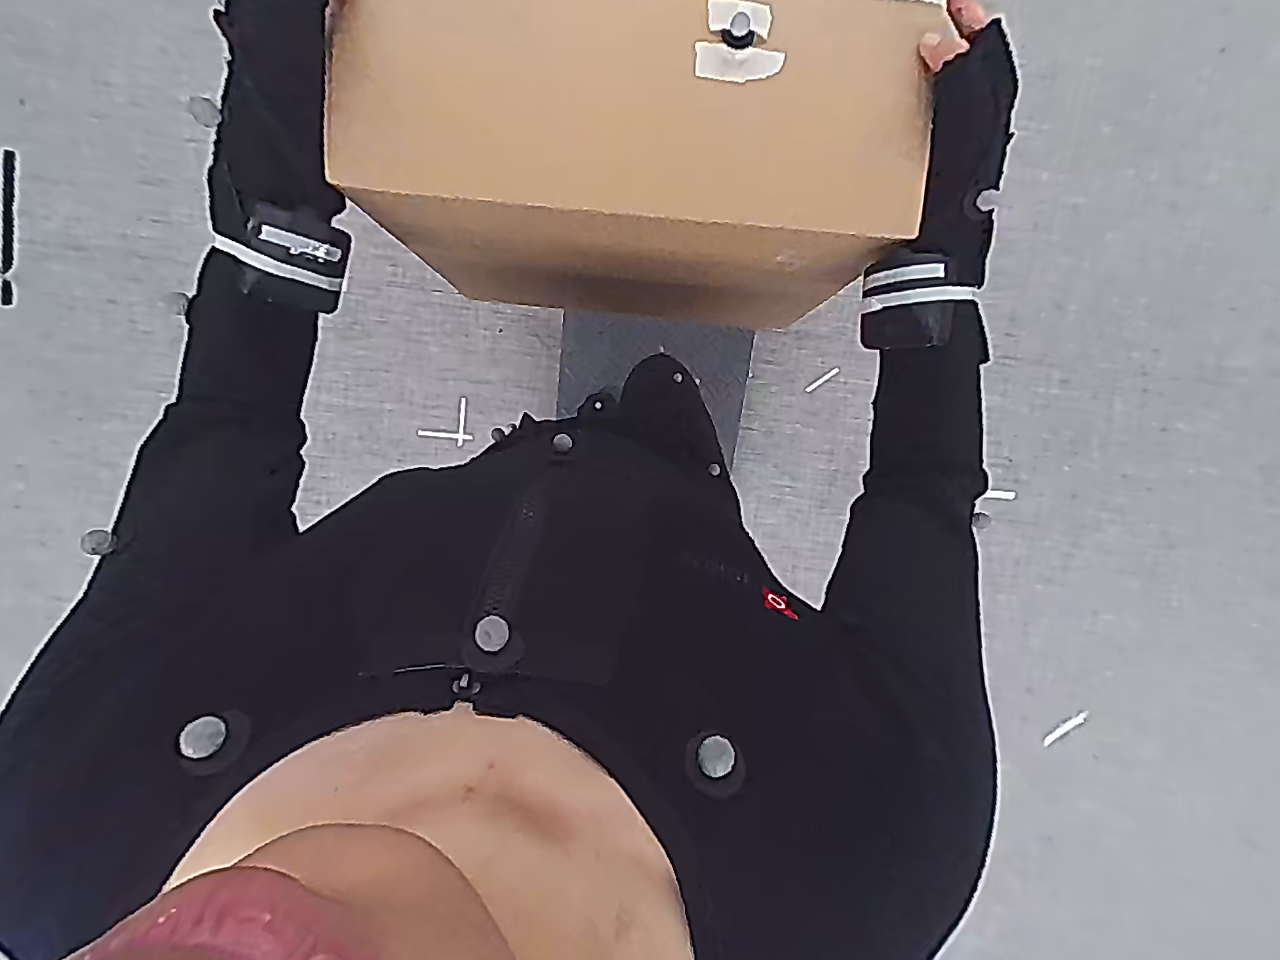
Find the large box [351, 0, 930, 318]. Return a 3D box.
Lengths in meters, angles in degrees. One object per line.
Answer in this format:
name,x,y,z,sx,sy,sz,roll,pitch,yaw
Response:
large box,0.001,-0.356,0.520,0.408,0.320,0.320,5,95,-2
